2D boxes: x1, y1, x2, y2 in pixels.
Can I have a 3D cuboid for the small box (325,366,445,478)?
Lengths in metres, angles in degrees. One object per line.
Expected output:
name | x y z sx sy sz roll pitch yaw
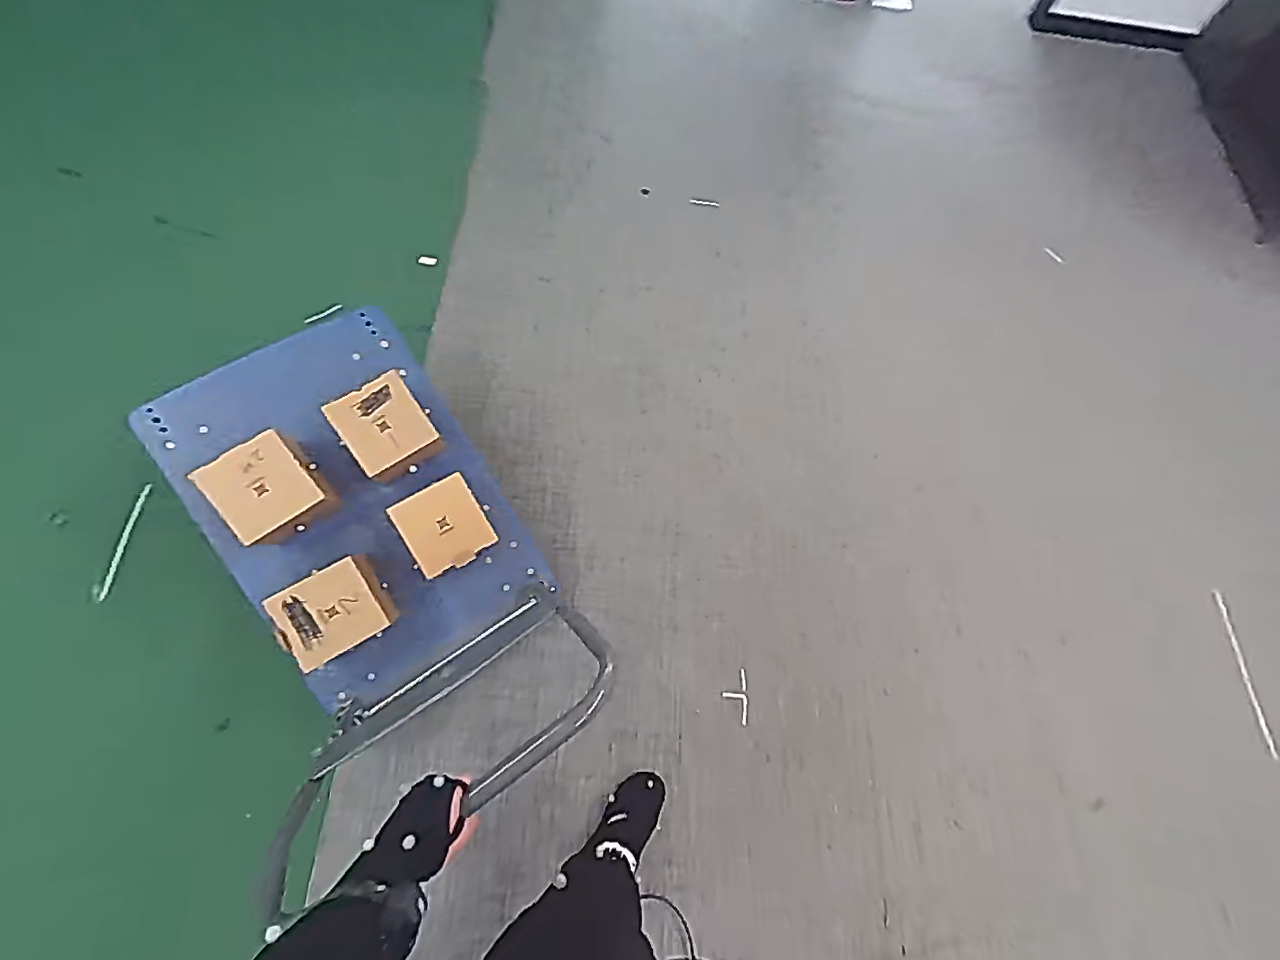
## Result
small box | -0.559 -0.121 1.208 0.168 0.176 0.179 -34 95 -16

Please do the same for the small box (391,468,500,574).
small box | -0.434 0.094 1.223 0.168 0.176 0.179 -30 94 -17

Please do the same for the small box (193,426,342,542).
small box | -0.764 0.012 1.134 0.168 0.176 0.179 -36 95 -17
